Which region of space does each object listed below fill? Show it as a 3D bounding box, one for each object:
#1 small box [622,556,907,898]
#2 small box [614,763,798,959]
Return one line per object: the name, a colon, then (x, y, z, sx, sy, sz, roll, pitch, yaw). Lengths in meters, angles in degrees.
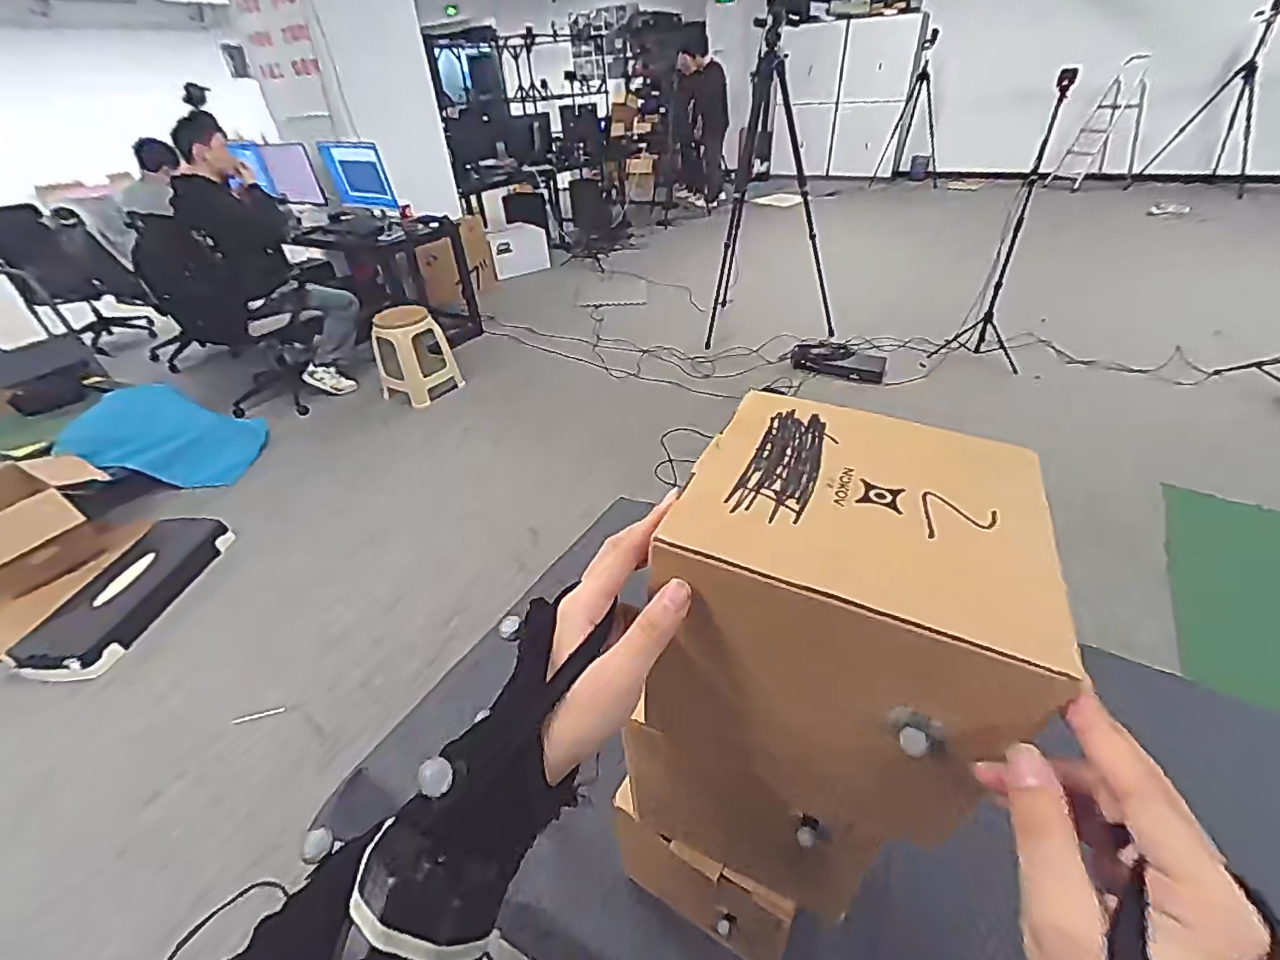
small box: (0.101, 0.196, 0.444, 0.179, 0.176, 0.168, 14, 40, 21)
small box: (0.093, 0.324, 0.545, 0.168, 0.176, 0.179, 19, 41, 26)
